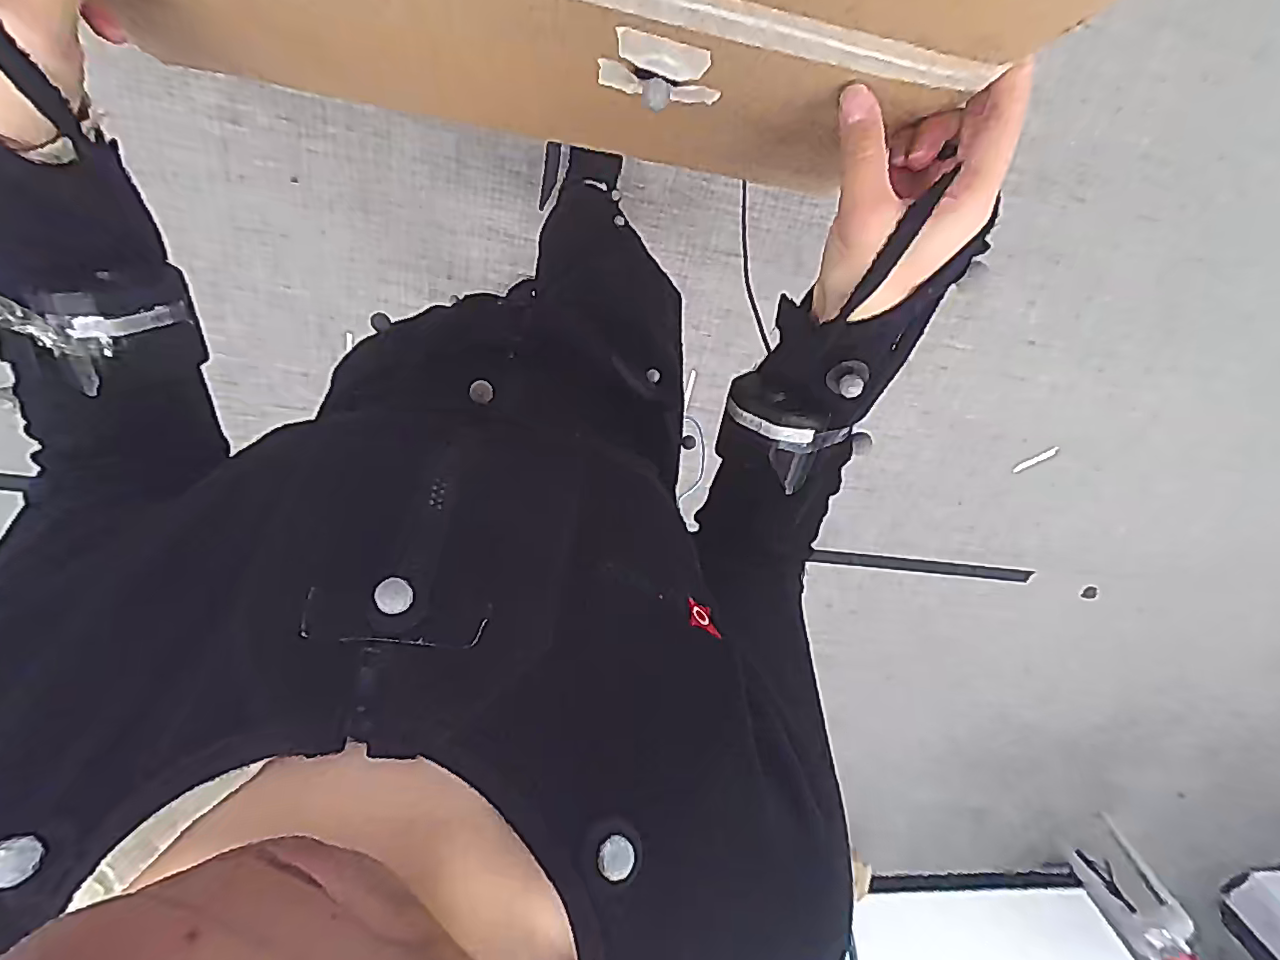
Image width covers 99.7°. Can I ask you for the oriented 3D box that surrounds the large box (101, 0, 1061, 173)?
[{"bbox_3d":[-0.034,-0.345,0.168,0.408,0.320,0.320,5,101,-9],"label":"large box"}]
